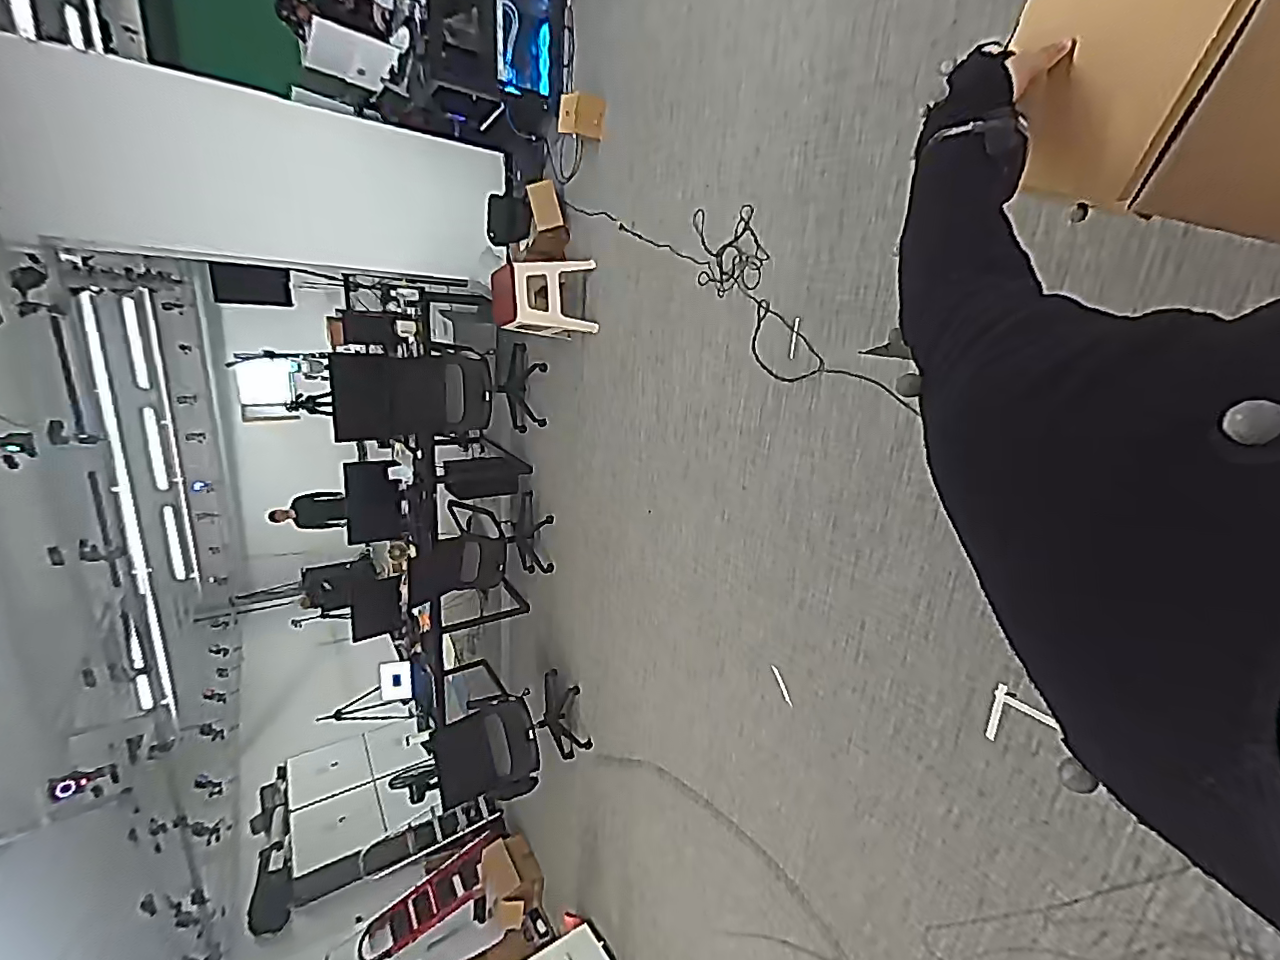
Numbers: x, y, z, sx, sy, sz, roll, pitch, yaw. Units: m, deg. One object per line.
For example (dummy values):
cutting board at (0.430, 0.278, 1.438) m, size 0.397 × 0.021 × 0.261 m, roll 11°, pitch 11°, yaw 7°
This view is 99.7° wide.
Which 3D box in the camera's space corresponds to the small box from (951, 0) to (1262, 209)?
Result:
small box at (0.473, -0.389, 0.558) m, size 0.179 × 0.176 × 0.168 m, roll 38°, pitch 129°, yaw 33°
